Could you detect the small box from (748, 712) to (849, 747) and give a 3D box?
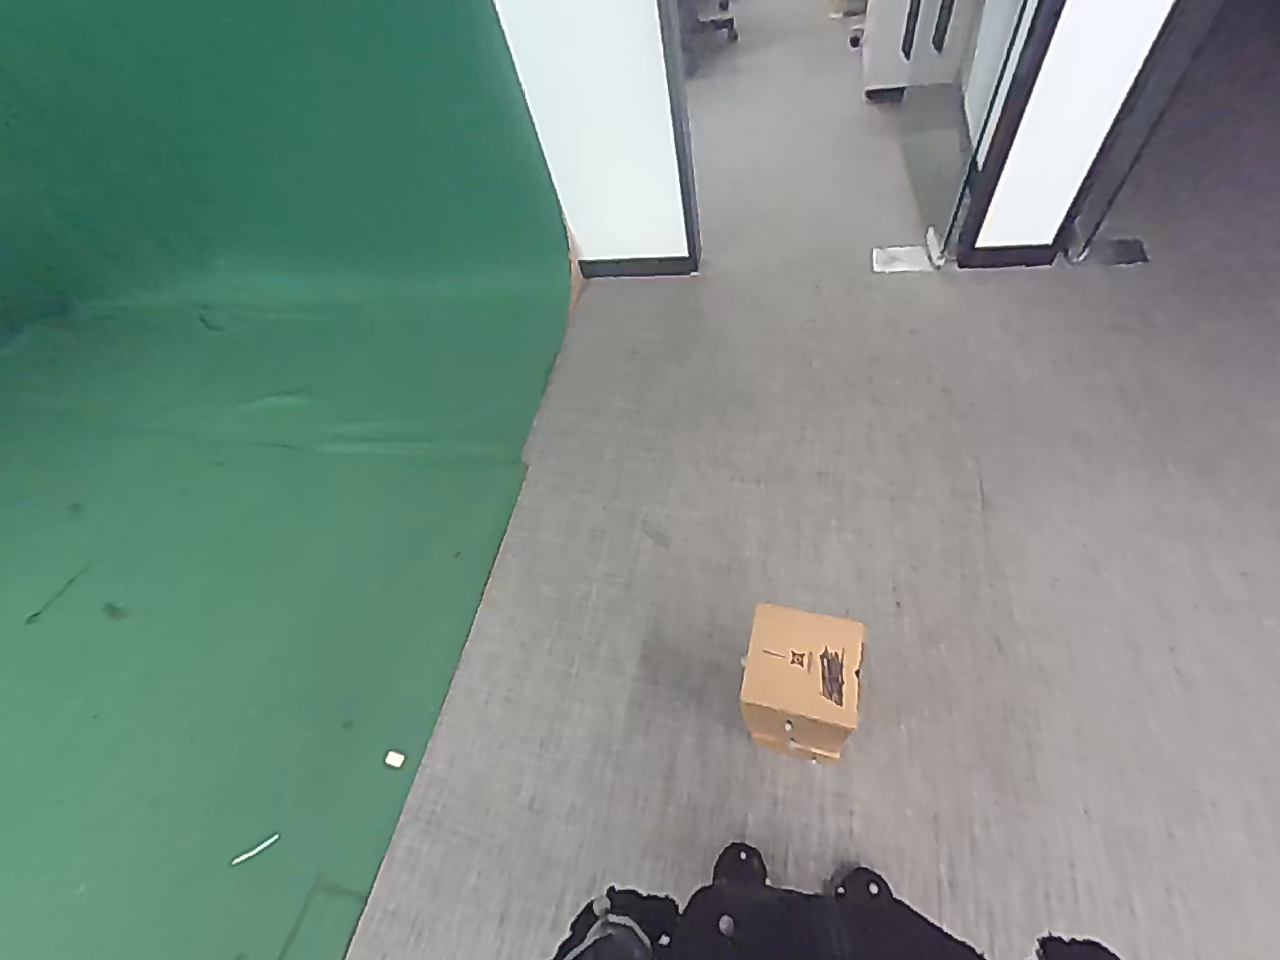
[{"bbox_3d":[0.316,0.414,1.067,0.179,0.176,0.168,8,61,18],"label":"small box"}]

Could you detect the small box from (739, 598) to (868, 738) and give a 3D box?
[{"bbox_3d":[0.277,0.327,0.930,0.179,0.176,0.168,11,60,19],"label":"small box"}]
